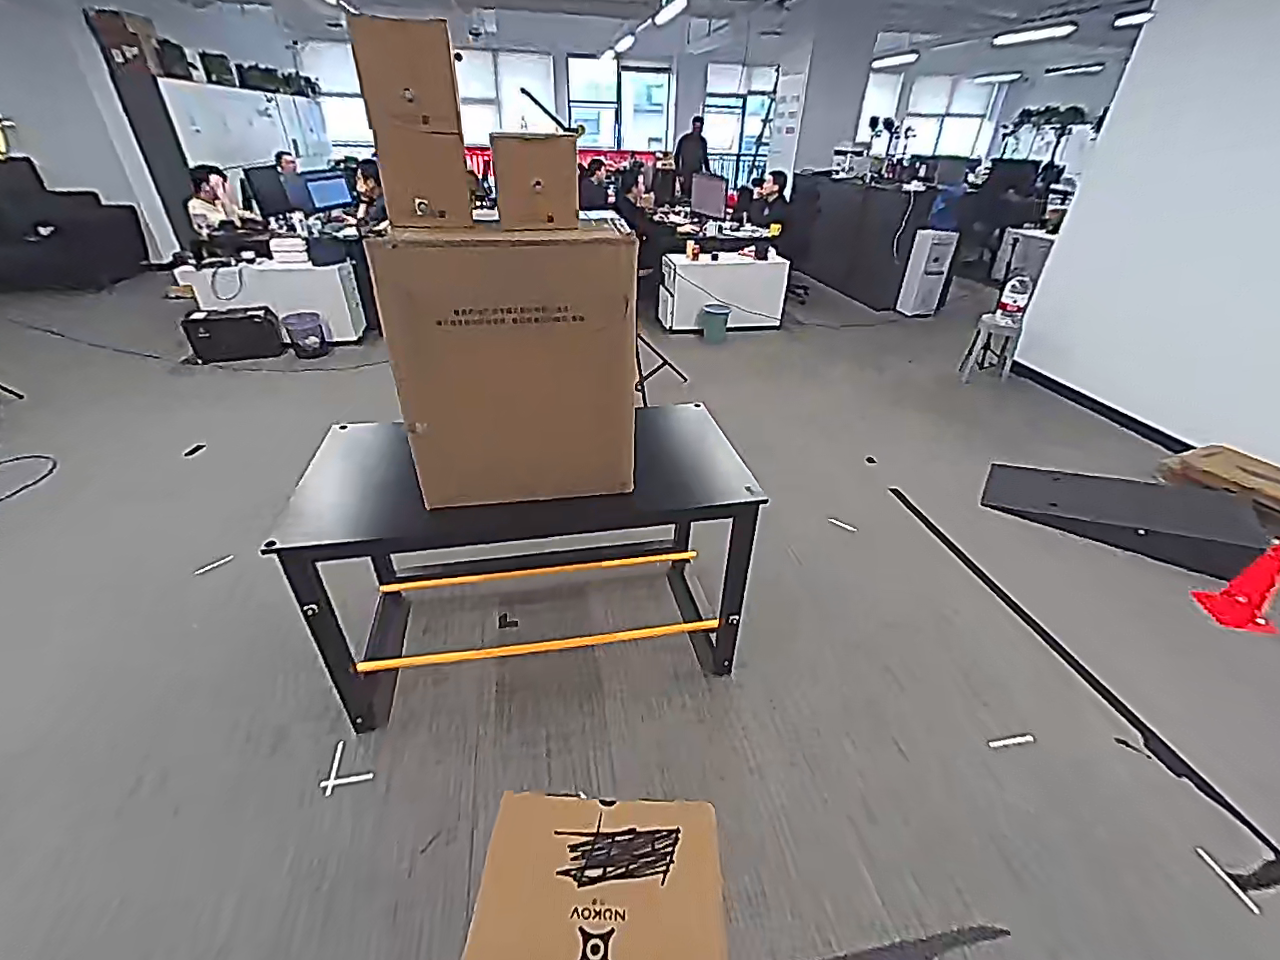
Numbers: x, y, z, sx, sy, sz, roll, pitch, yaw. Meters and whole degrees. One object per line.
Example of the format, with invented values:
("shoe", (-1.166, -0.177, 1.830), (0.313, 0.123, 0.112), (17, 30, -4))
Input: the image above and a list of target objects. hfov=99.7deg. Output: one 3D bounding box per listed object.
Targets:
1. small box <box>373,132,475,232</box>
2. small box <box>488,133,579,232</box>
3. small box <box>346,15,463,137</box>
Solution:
("small box", (-0.440, -0.622, 1.125), (0.168, 0.176, 0.179), (-8, 36, -14))
("small box", (-0.223, -0.625, 1.139), (0.168, 0.176, 0.179), (-7, 36, -12))
("small box", (-0.436, -0.759, 1.032), (0.168, 0.176, 0.179), (-7, 34, -12))
